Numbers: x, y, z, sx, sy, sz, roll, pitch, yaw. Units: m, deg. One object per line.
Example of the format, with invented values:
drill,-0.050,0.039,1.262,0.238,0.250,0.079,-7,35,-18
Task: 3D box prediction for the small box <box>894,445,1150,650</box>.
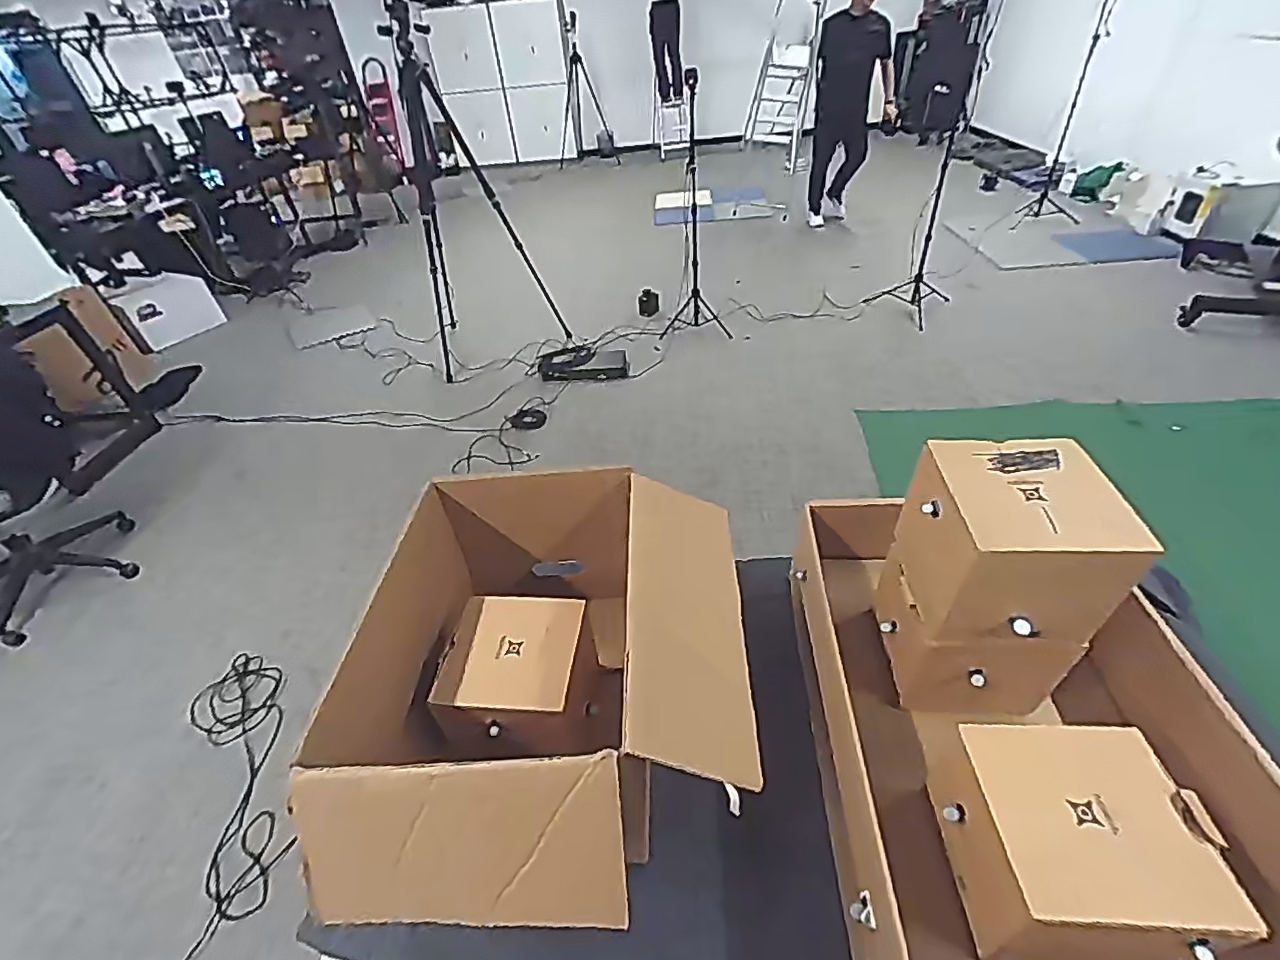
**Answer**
small box,0.421,0.077,0.641,0.168,0.176,0.179,0,43,7
